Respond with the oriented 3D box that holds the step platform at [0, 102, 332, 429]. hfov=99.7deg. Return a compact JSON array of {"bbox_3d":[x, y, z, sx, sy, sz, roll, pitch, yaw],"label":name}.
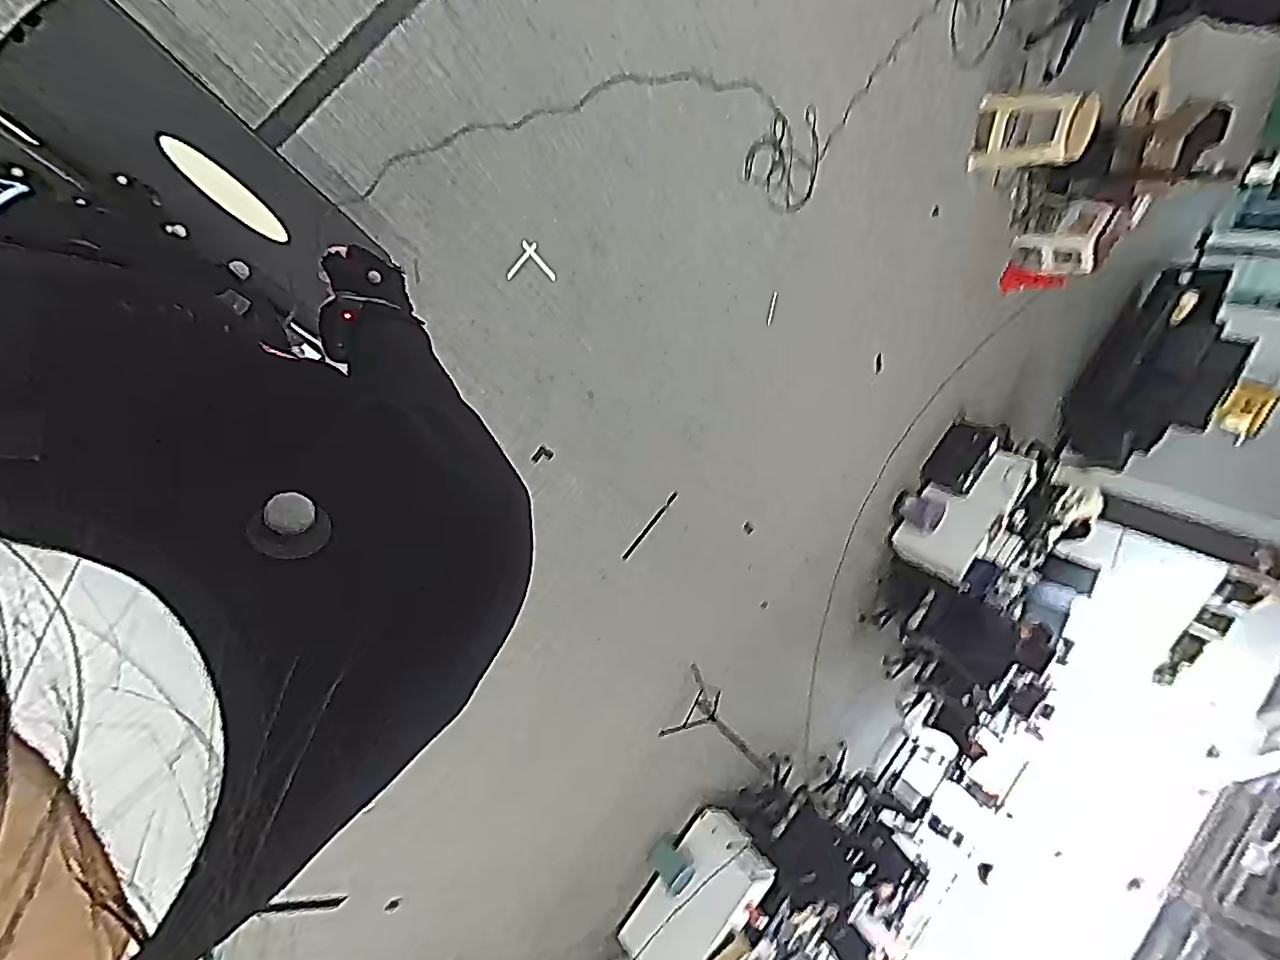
[{"bbox_3d":[-1.018,-0.394,1.107,0.286,0.204,0.684,-54,135,-6],"label":"step platform"}]
